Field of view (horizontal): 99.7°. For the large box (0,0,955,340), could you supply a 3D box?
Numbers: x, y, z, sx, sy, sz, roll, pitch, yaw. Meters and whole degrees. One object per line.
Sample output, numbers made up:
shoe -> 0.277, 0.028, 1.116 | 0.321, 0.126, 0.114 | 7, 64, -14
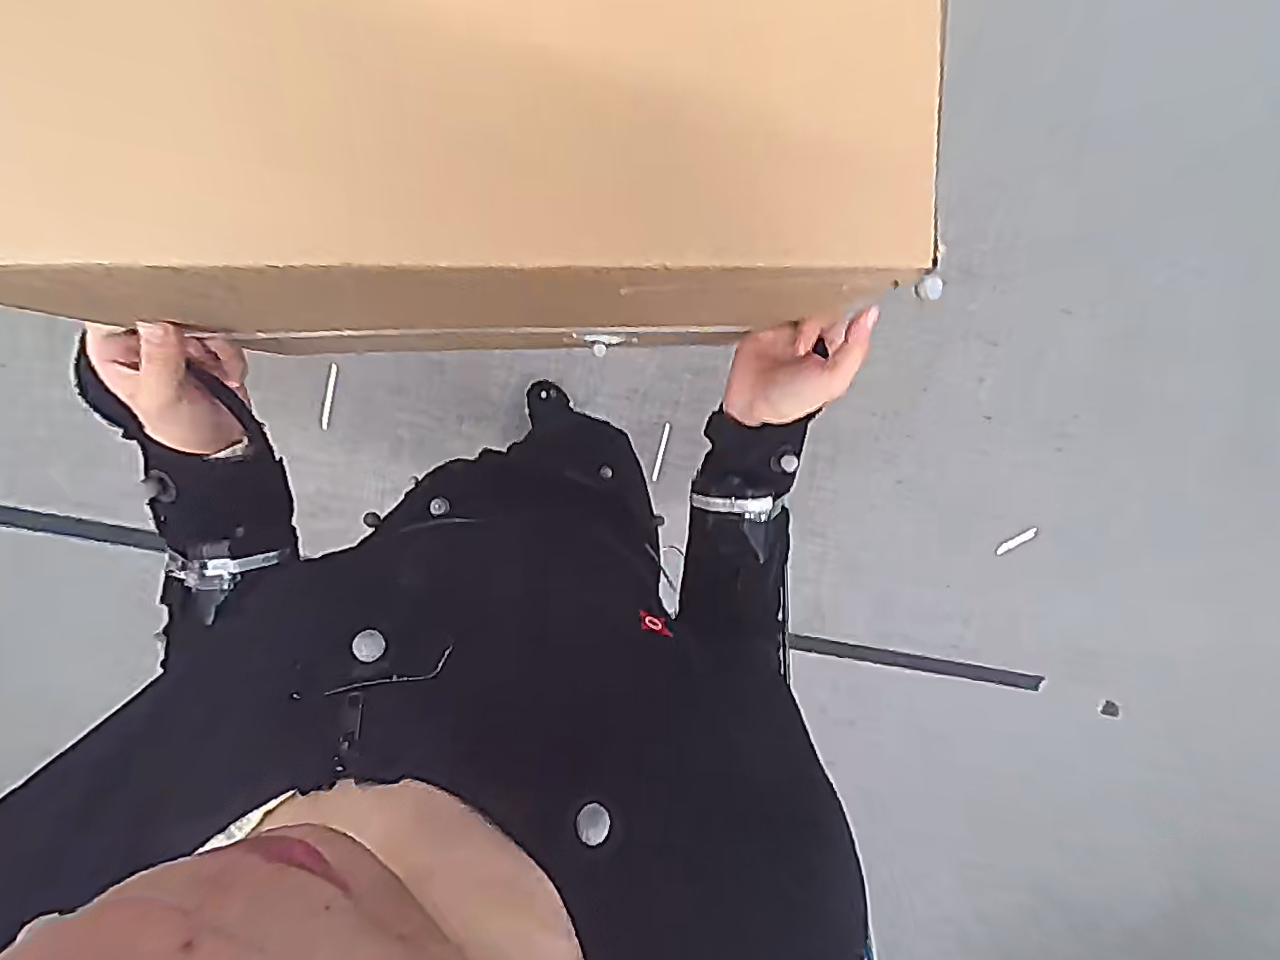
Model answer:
large box -> -0.092, -0.264, 0.330 | 0.408, 0.320, 0.320 | -4, 99, -9
